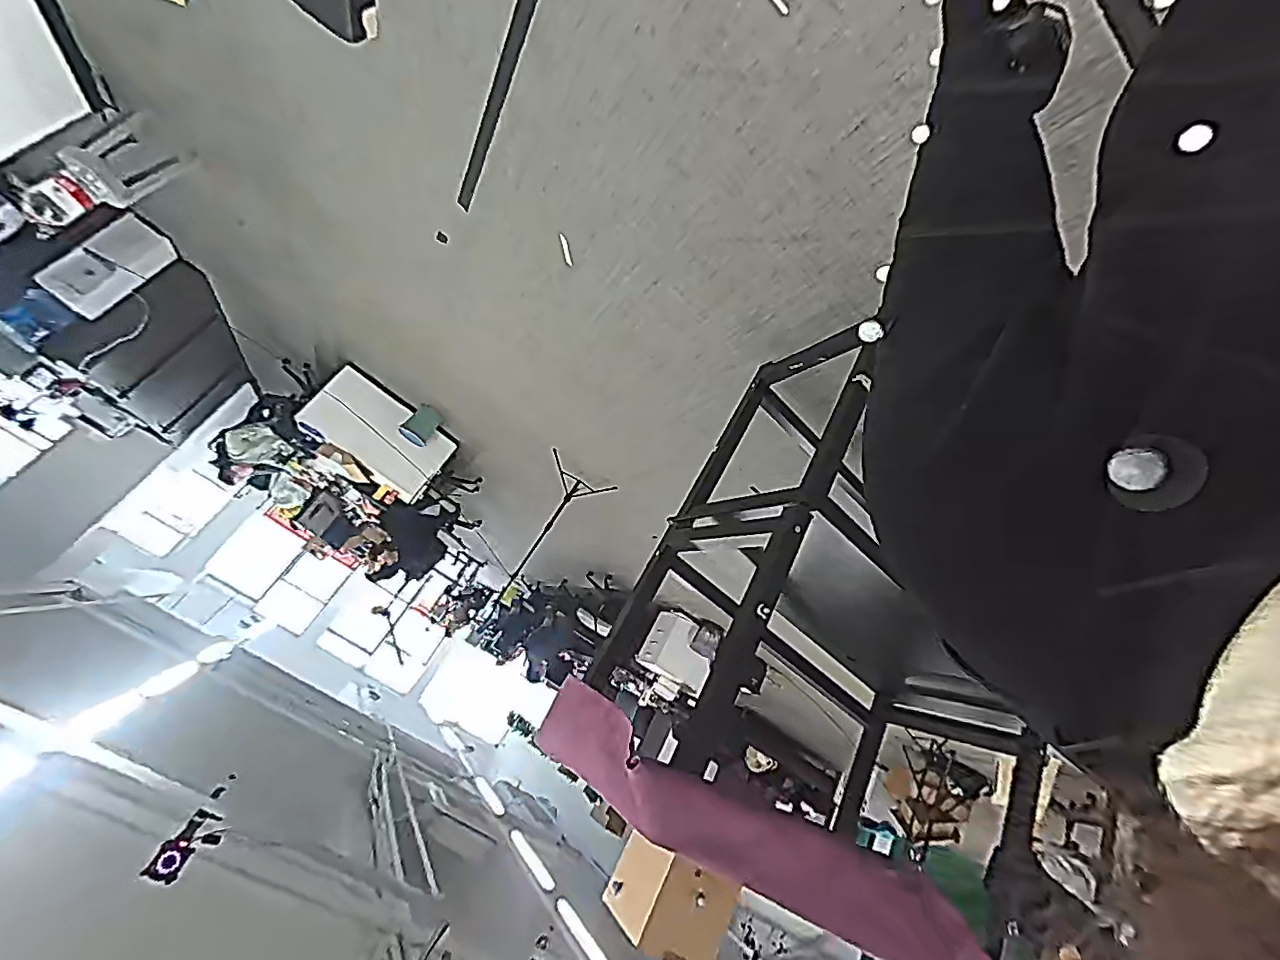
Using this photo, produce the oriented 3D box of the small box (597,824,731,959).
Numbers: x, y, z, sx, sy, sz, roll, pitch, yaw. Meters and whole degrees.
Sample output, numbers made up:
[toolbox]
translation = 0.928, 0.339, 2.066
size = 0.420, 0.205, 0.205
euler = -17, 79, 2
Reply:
[small box]
translation = 0.048, 0.808, 1.051
size = 0.168, 0.176, 0.179
euler = 36, 156, -13
